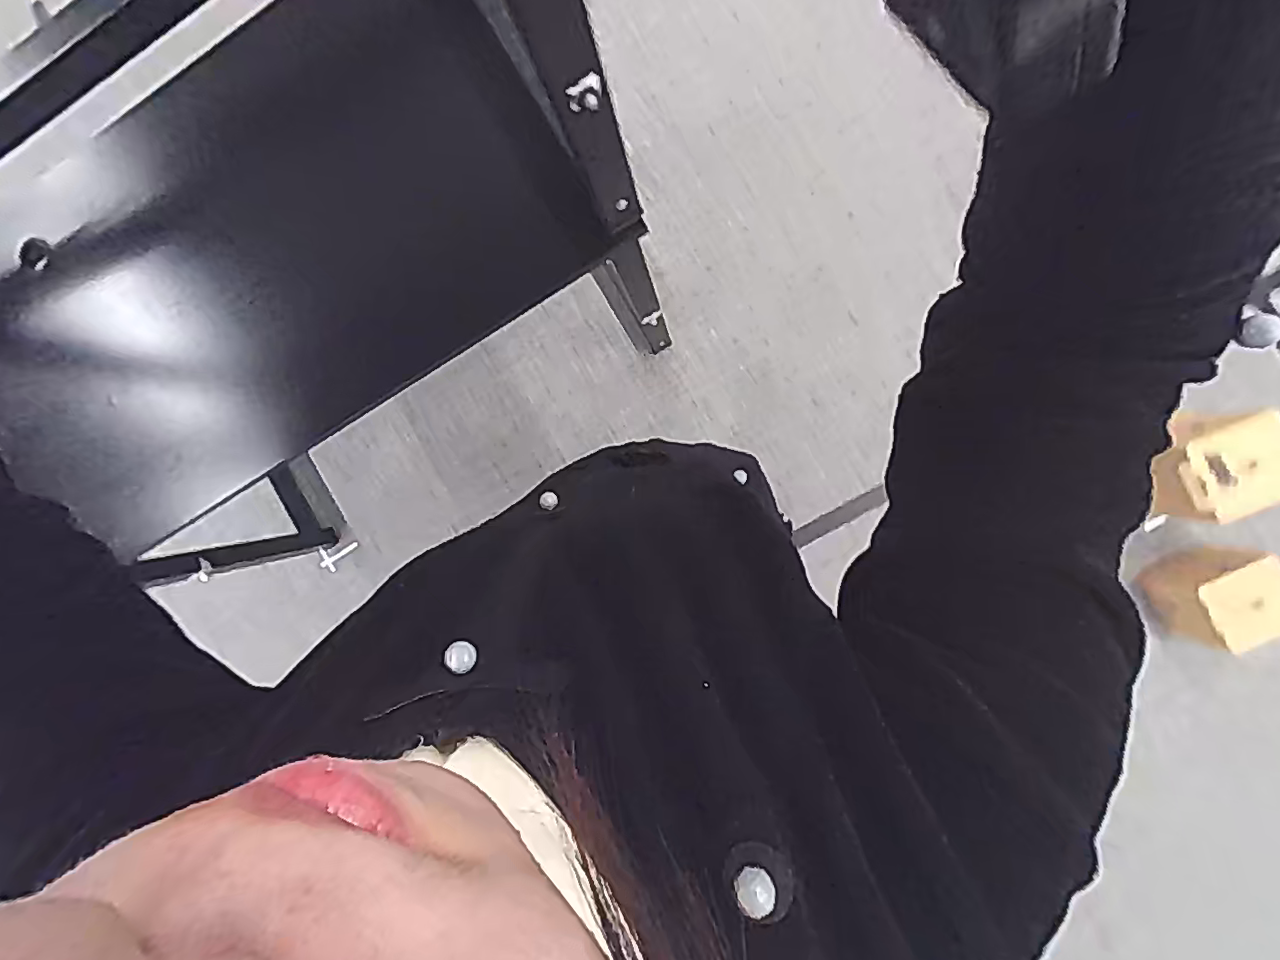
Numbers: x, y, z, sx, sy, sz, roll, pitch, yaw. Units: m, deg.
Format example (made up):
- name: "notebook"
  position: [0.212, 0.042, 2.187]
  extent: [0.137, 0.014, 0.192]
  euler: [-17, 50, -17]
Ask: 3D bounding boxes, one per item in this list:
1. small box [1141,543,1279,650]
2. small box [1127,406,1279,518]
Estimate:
- name: "small box"
  position: [1.342, 0.260, 1.253]
  extent: [0.179, 0.176, 0.168]
  euler: [-29, 88, 7]
- name: "small box"
  position: [1.153, -0.034, 1.100]
  extent: [0.179, 0.176, 0.168]
  euler: [-24, 89, 6]
